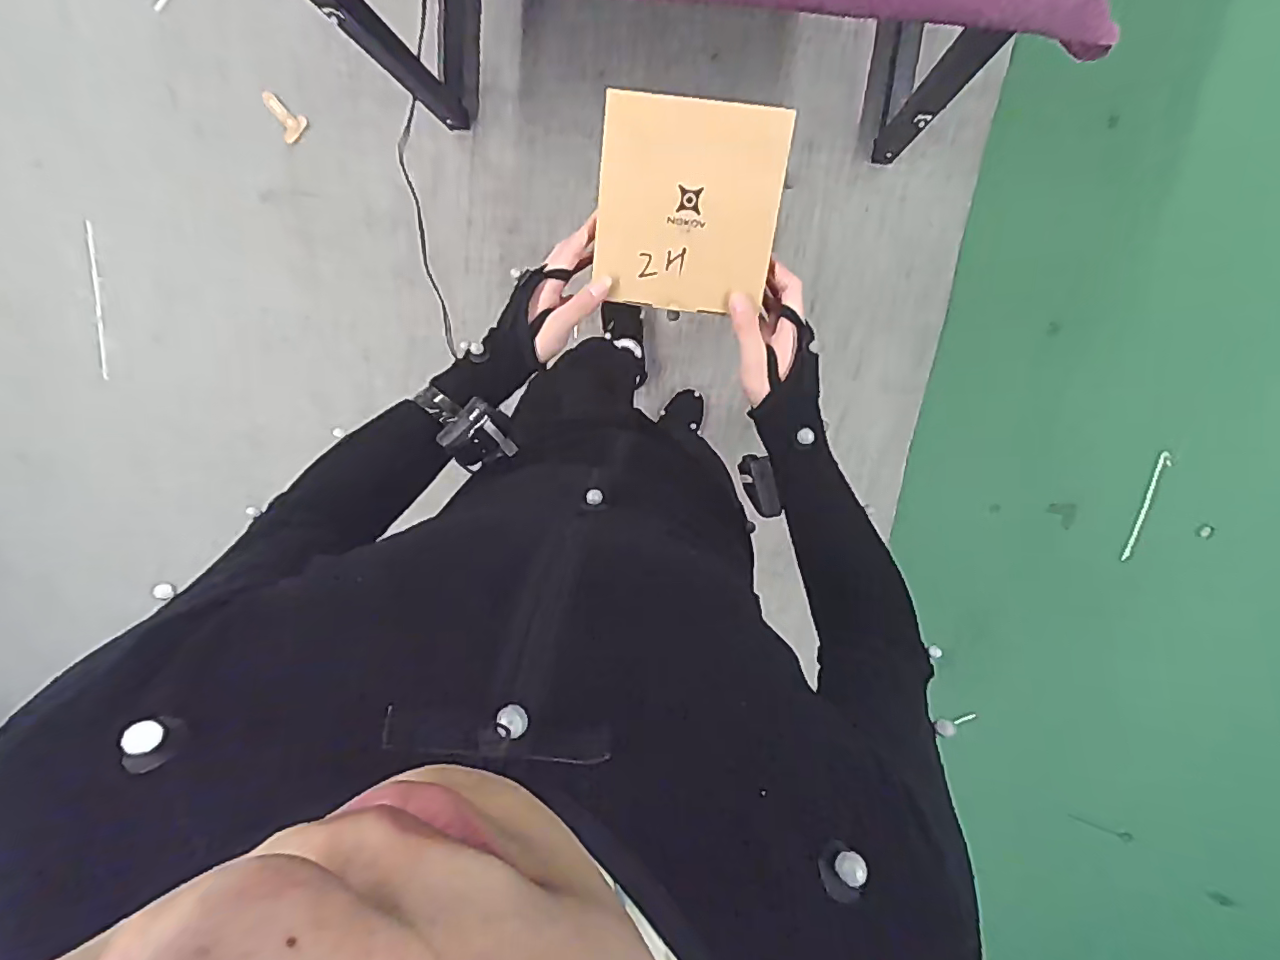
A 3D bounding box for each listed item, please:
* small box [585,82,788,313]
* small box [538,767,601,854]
[{"bbox_3d":[0.043,-0.280,0.570,0.168,0.176,0.179,9,111,3],"label":"small box"},{"bbox_3d":[-0.234,1.114,1.835,0.168,0.176,0.179,11,104,4],"label":"small box"}]
